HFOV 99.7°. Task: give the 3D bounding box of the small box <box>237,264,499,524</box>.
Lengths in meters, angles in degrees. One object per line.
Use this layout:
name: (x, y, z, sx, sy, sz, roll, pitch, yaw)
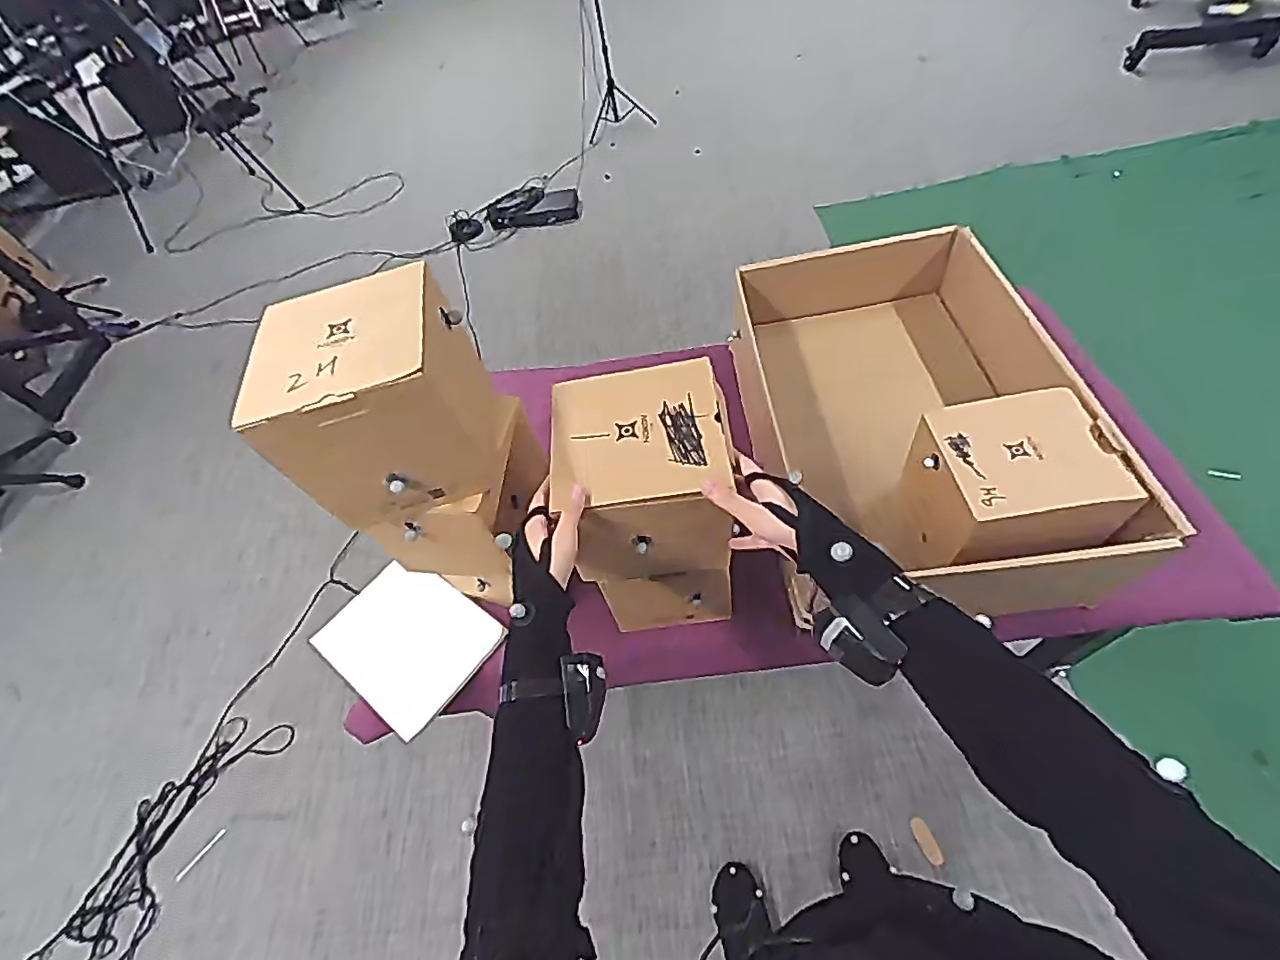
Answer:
small box: (-0.256, -0.083, 0.556, 0.168, 0.176, 0.179, -17, 54, 1)
